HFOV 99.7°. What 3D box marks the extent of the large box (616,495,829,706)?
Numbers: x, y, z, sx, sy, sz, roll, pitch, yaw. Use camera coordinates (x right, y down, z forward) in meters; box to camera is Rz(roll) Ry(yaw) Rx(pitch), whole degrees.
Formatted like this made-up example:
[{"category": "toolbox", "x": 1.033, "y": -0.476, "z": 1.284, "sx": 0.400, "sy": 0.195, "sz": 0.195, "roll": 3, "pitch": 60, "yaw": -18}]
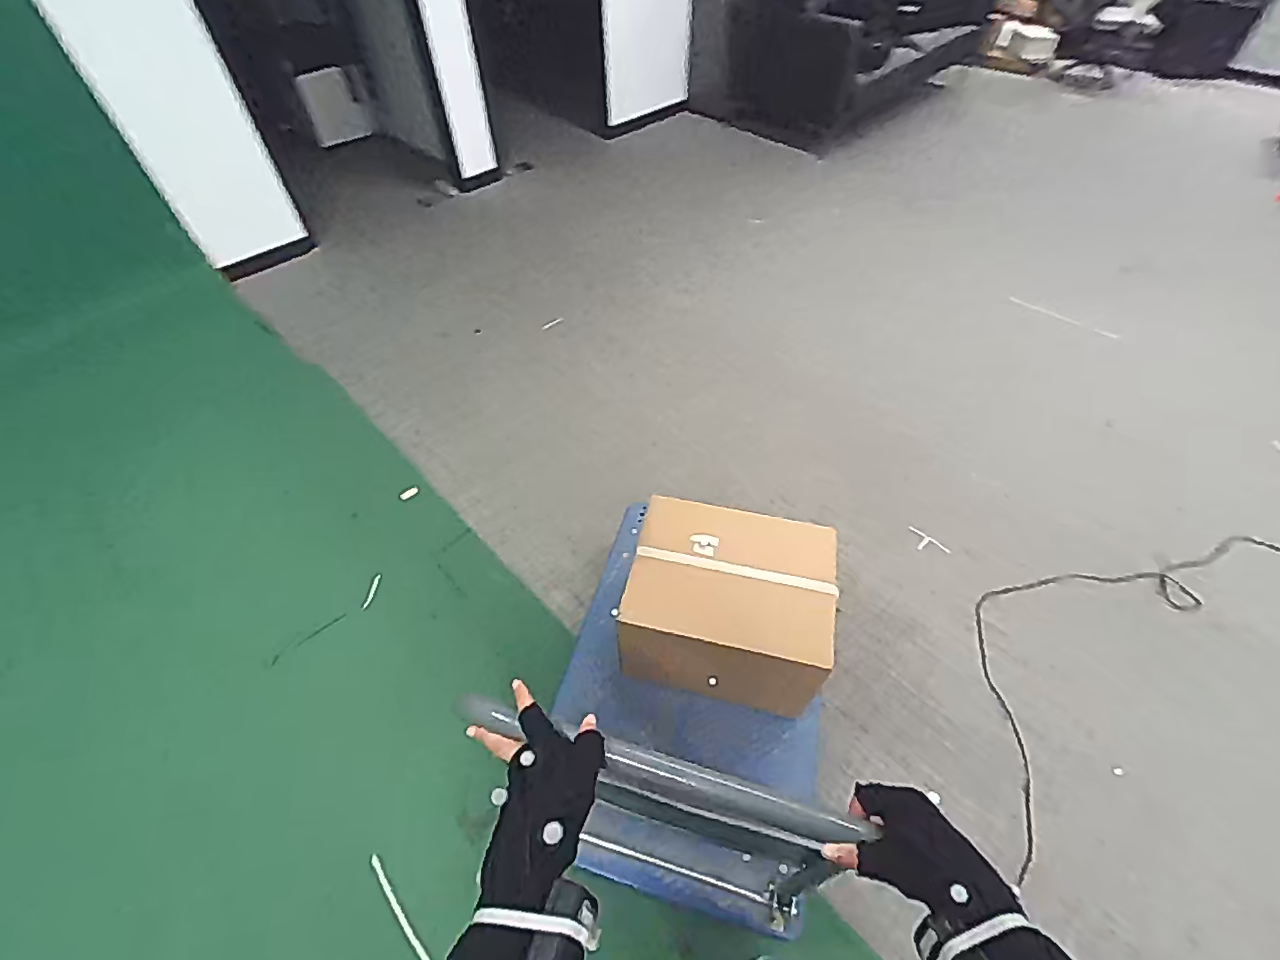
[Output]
[{"category": "large box", "x": 0.185, "y": 0.272, "z": 1.212, "sx": 0.408, "sy": 0.320, "sz": 0.320, "roll": 10, "pitch": 51, "yaw": 10}]
